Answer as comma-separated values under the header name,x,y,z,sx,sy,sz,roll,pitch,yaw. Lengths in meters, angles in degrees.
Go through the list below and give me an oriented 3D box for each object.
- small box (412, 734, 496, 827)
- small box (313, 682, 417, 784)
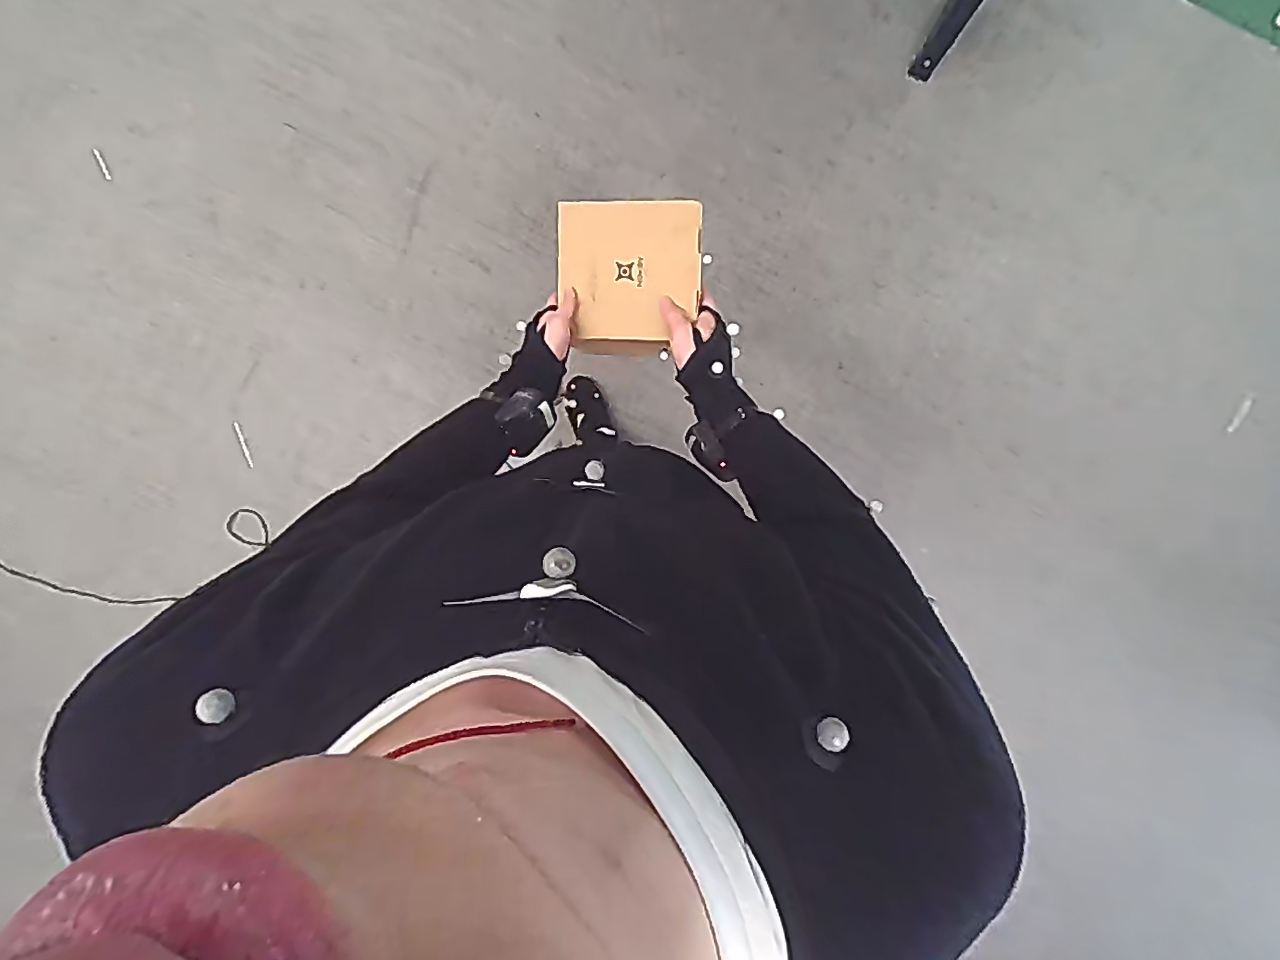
name,x,y,z,sx,sy,sz,roll,pitch,yaw
small box,-0.519,0.845,1.537,0.179,0.176,0.168,-7,95,1
small box,-0.773,0.711,1.541,0.179,0.176,0.168,31,92,-1
